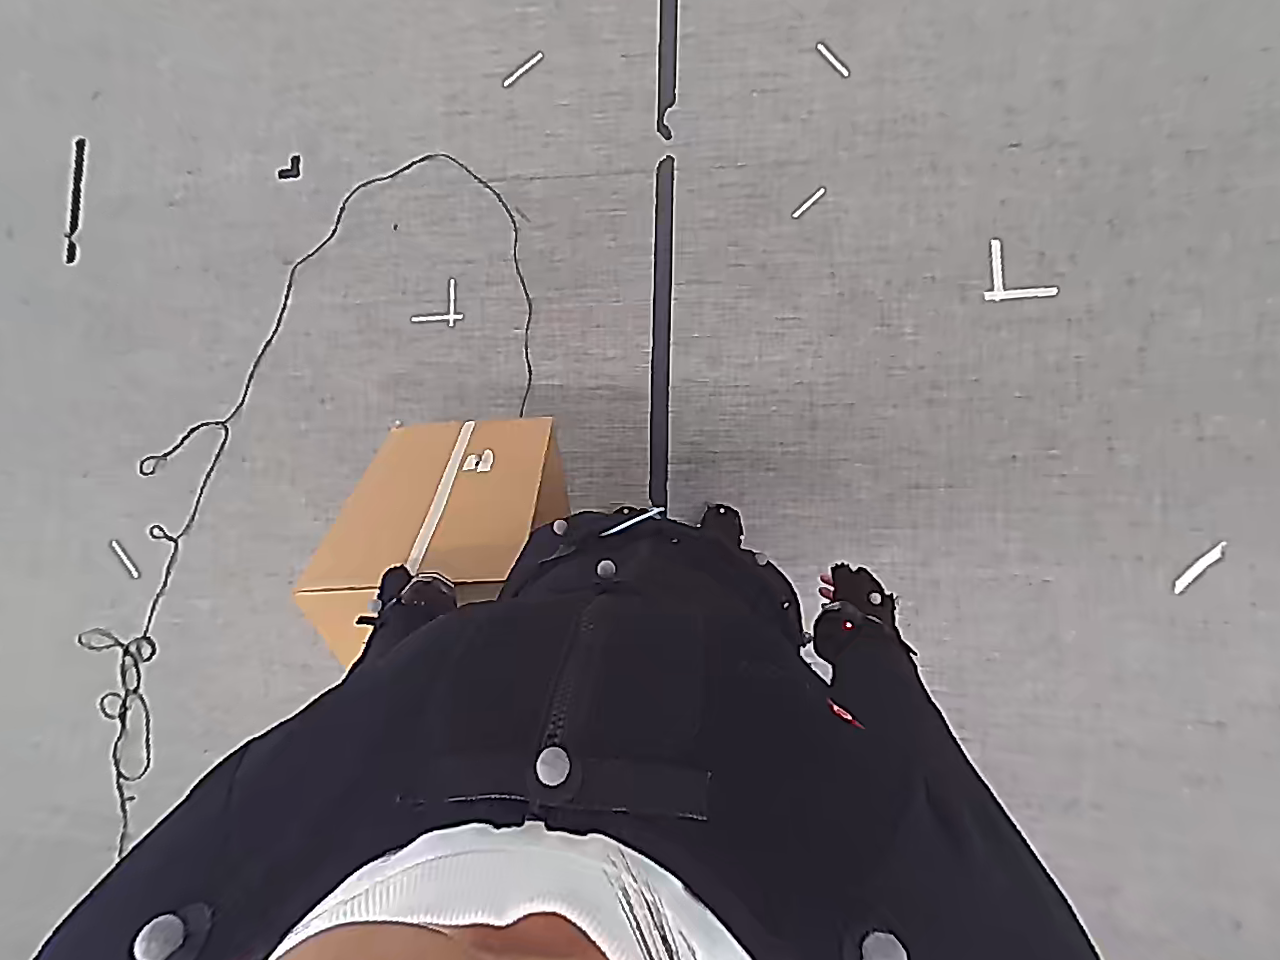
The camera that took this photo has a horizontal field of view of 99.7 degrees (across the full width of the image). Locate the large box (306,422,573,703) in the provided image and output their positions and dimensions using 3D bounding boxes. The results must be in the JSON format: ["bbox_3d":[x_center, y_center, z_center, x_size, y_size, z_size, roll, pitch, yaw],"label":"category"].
[{"bbox_3d":[-0.309,0.138,0.990,0.320,0.408,0.320,-3,129,2],"label":"large box"}]
